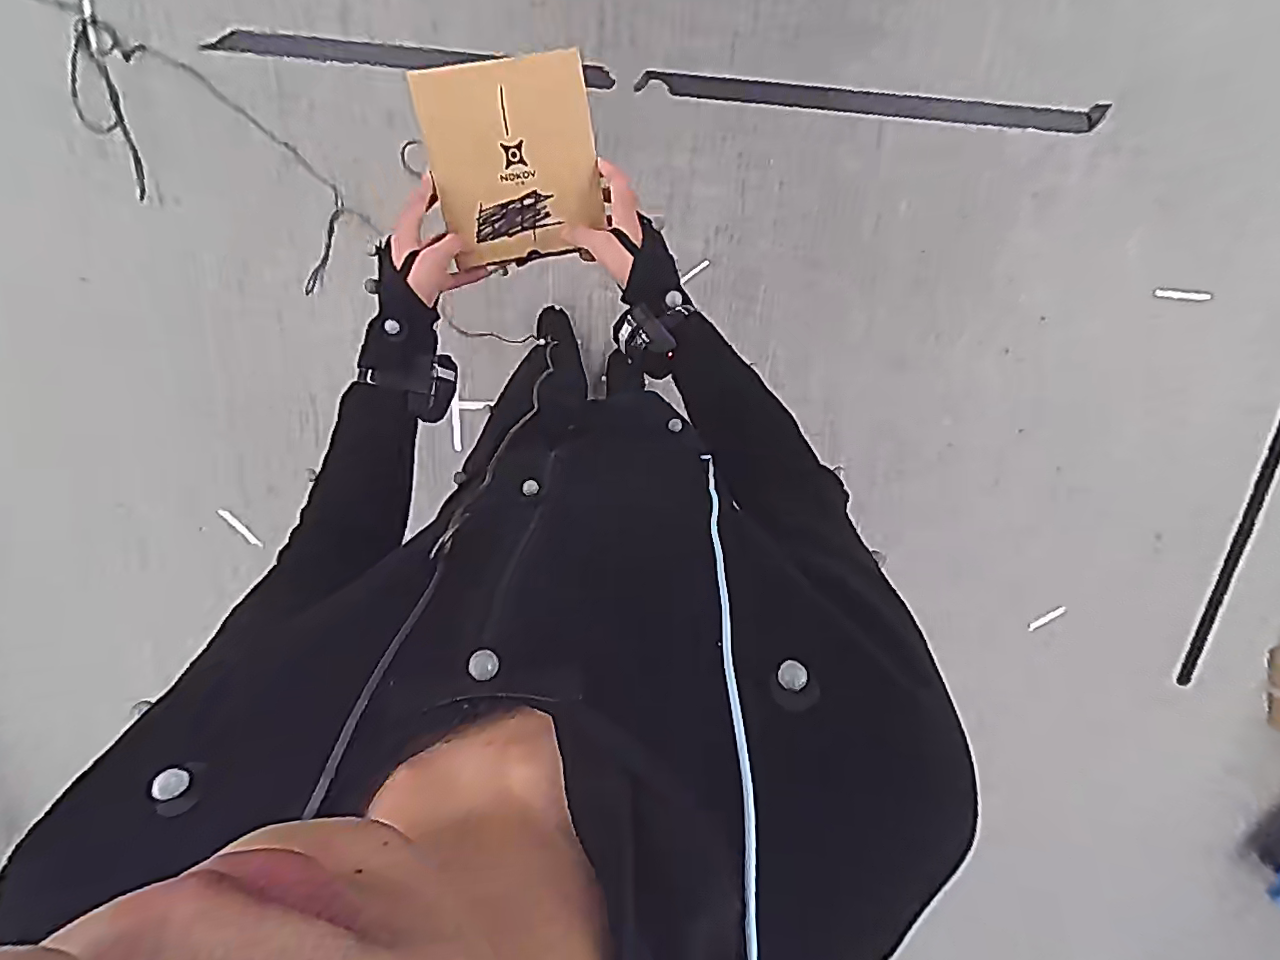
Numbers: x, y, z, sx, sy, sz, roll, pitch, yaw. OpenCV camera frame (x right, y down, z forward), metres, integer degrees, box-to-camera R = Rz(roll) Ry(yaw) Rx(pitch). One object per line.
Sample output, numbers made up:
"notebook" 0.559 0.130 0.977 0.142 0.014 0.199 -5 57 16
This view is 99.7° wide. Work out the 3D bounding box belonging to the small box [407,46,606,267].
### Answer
"small box" -0.133 -0.344 0.605 0.168 0.176 0.179 -10 113 -4
